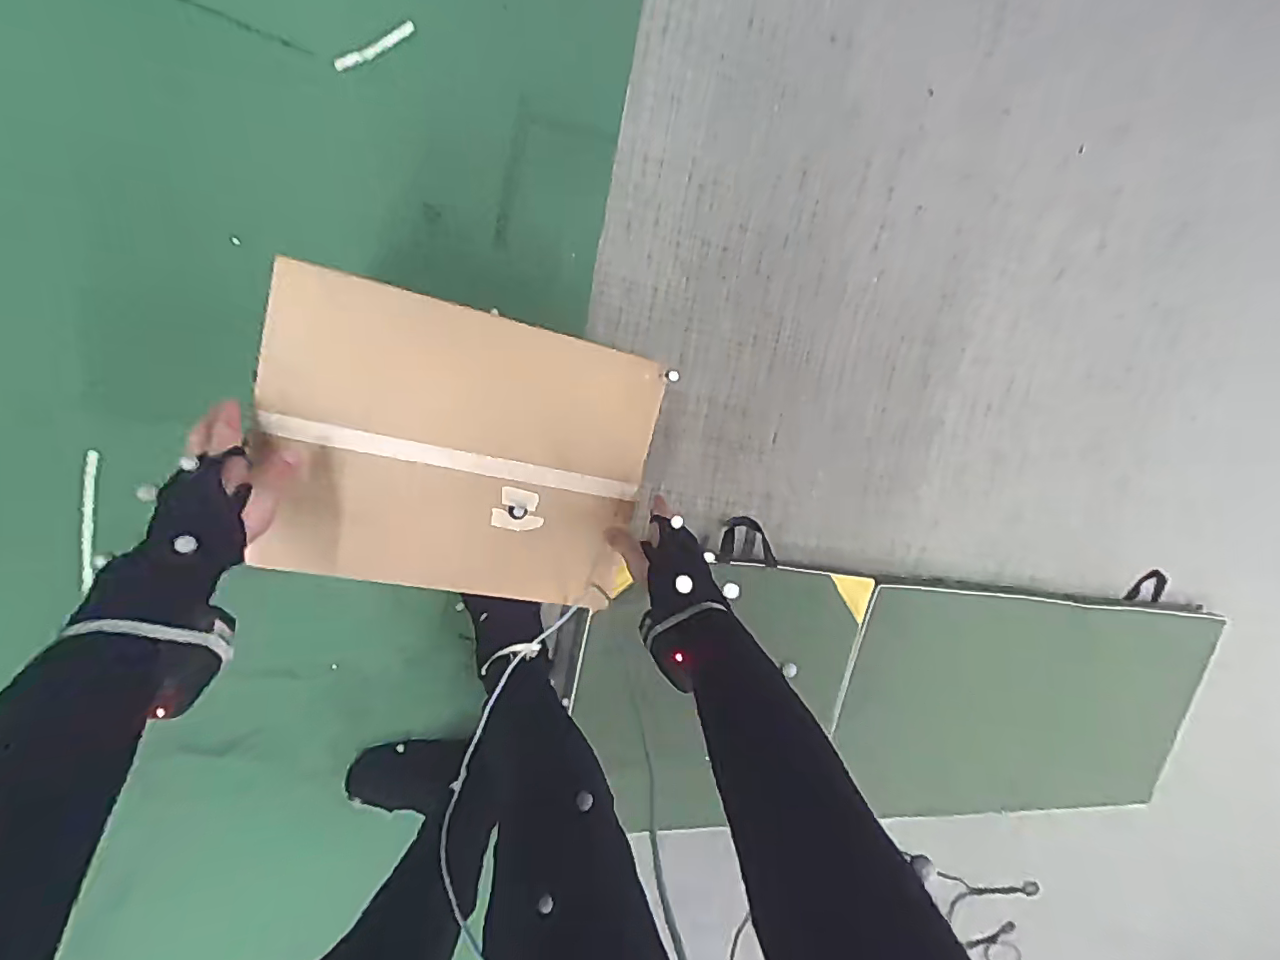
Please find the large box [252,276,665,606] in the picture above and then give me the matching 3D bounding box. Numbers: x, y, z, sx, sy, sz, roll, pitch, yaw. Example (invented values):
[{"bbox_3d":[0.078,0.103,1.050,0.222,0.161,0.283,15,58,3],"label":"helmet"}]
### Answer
[{"bbox_3d":[-0.231,-0.051,0.740,0.408,0.320,0.320,11,101,-19],"label":"large box"}]
